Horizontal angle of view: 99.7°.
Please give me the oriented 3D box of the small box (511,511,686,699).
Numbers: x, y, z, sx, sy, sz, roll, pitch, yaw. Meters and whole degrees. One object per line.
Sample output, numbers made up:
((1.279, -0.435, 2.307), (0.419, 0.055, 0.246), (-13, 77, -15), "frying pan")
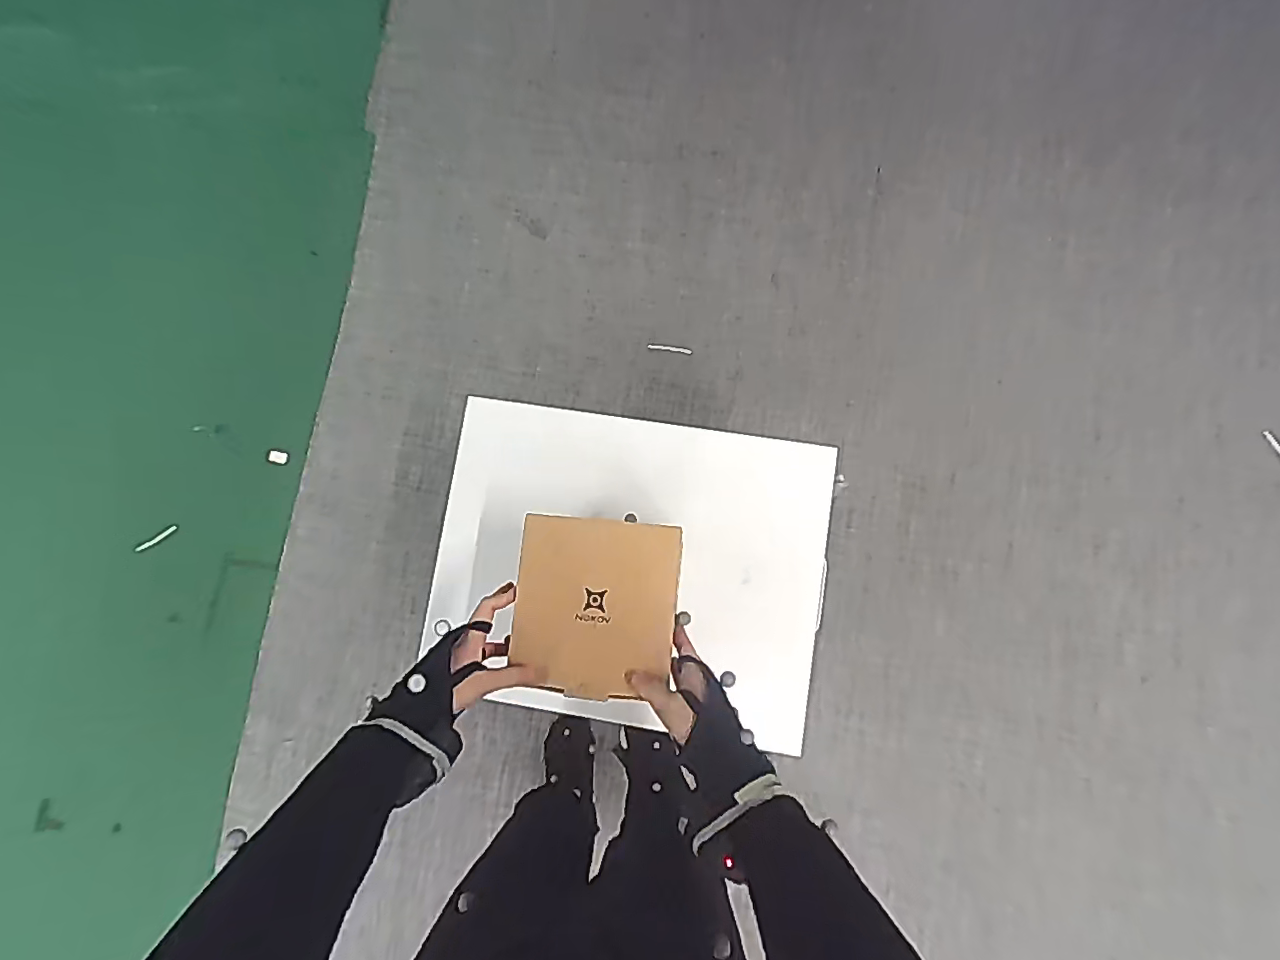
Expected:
((-0.037, 0.134, 0.624), (0.168, 0.176, 0.179), (4, 83, 4), "small box")
